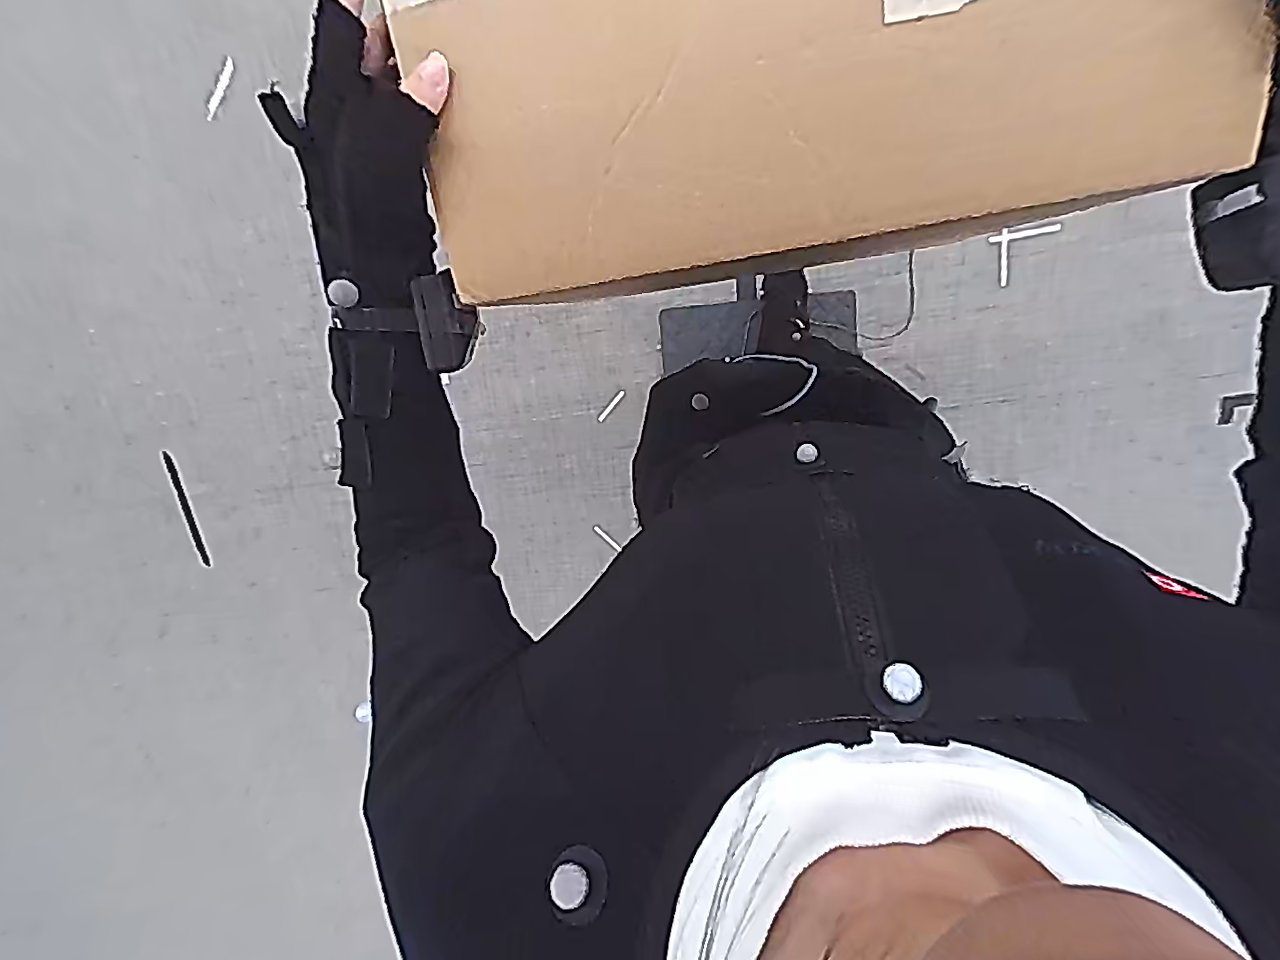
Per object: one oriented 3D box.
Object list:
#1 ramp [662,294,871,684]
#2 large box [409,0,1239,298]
[{"bbox_3d":[0.327,0.043,1.417,0.509,0.206,0.991,-5,103,10],"label":"ramp"},{"bbox_3d":[0.084,-0.329,0.398,0.408,0.320,0.320,-7,108,9],"label":"large box"}]
